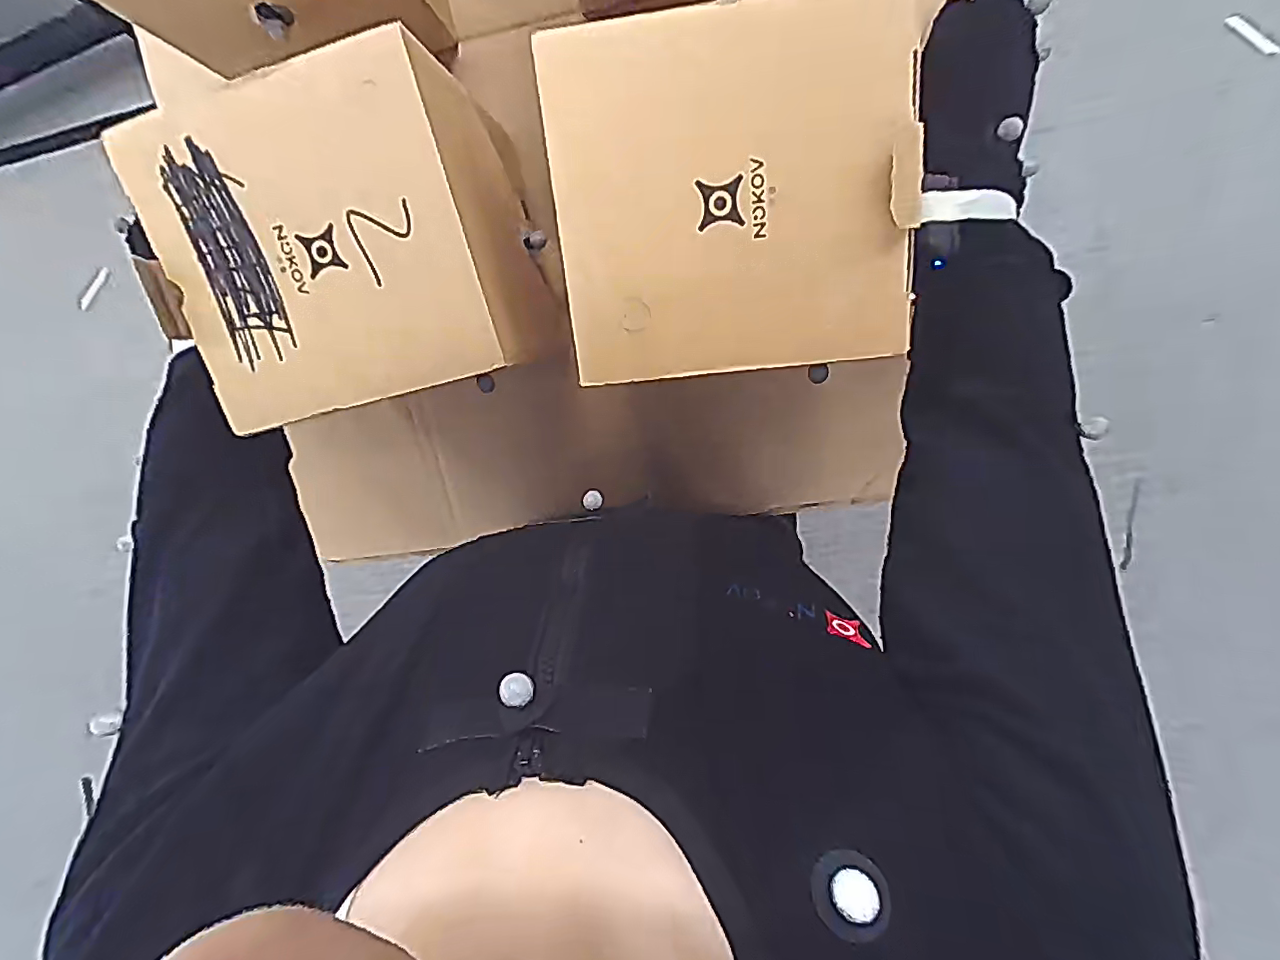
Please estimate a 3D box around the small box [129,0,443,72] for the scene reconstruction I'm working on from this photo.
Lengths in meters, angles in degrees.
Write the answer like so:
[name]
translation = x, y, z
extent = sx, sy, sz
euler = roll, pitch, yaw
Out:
[small box]
translation = -0.240, -0.382, 0.318
extent = 0.168, 0.176, 0.179
euler = -9, 101, 8
